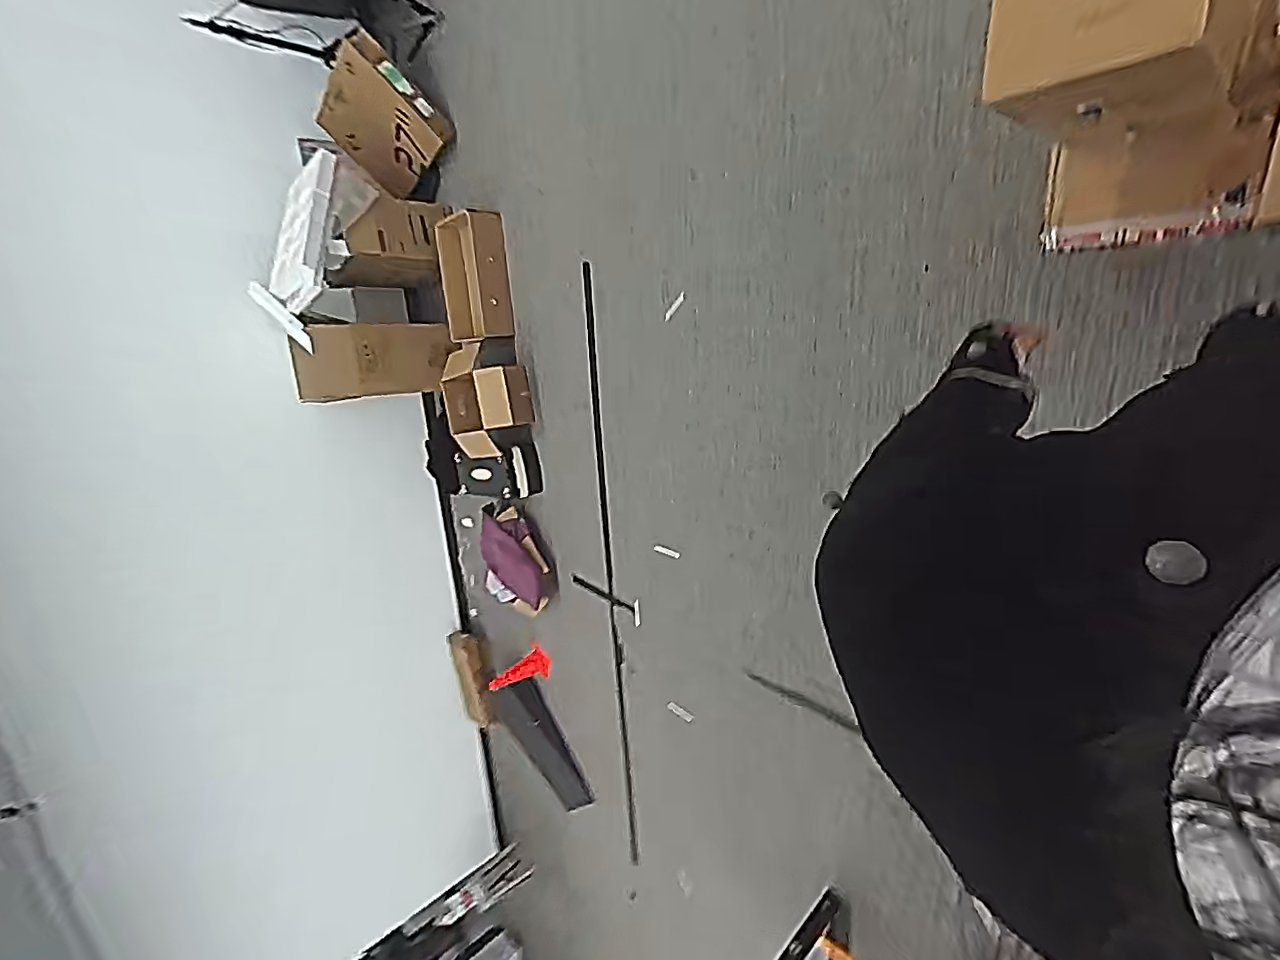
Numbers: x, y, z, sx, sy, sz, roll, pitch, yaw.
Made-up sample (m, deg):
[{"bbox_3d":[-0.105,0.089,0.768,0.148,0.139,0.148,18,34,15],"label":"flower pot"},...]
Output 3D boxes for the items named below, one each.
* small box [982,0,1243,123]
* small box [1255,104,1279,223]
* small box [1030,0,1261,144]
[{"bbox_3d":[0.463,-0.478,0.524,0.168,0.176,0.179,17,117,49],"label":"small box"},{"bbox_3d":[0.730,-0.356,0.517,0.168,0.176,0.179,15,116,46],"label":"small box"},{"bbox_3d":[0.585,-0.517,0.625,0.168,0.176,0.179,16,116,47],"label":"small box"}]
